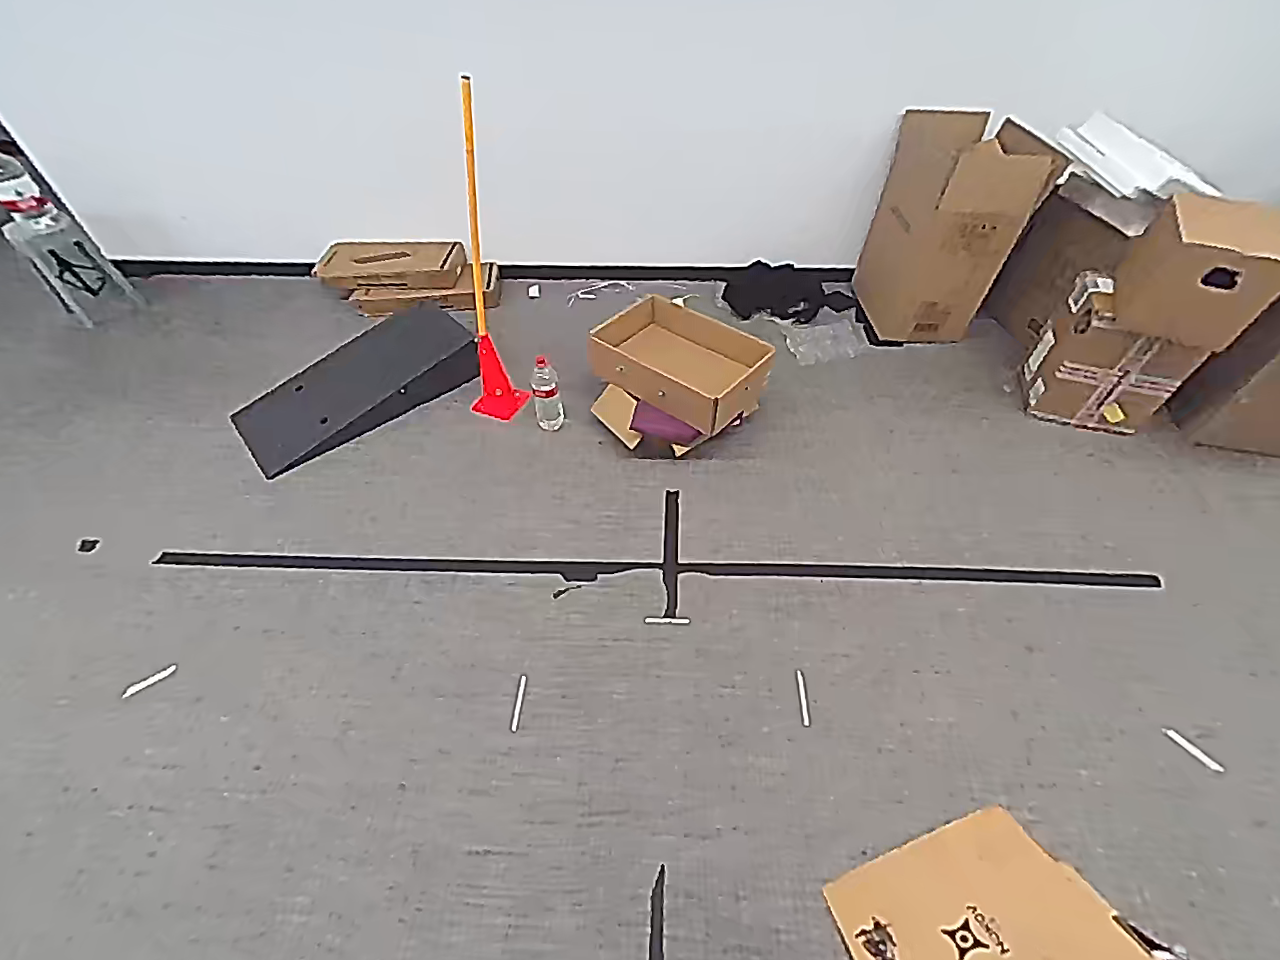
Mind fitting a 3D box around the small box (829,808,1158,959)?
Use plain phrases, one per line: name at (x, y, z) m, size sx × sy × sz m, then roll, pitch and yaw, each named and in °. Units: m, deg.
small box at (0.281, 0.409, 0.412) m, size 0.179 × 0.176 × 0.168 m, roll -23°, pitch 8°, yaw -2°
